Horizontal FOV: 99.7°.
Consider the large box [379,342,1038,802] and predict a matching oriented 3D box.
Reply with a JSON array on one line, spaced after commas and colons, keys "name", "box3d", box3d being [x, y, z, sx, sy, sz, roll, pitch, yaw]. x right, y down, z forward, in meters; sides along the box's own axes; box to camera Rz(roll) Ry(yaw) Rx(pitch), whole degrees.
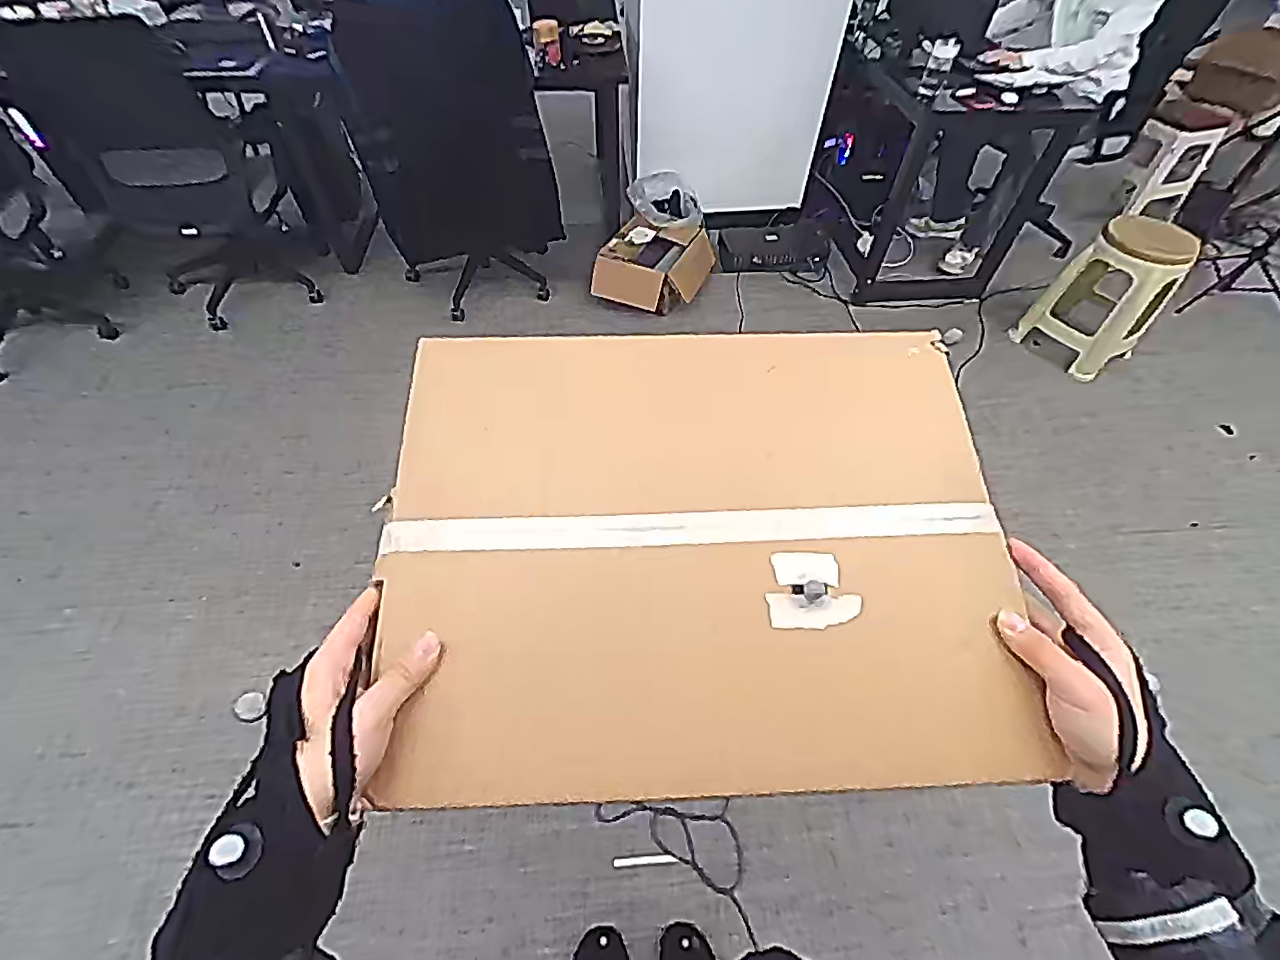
[{"name": "large box", "box3d": [0.033, 0.092, 0.511, 0.408, 0.320, 0.320, -1, 68, -2]}]
